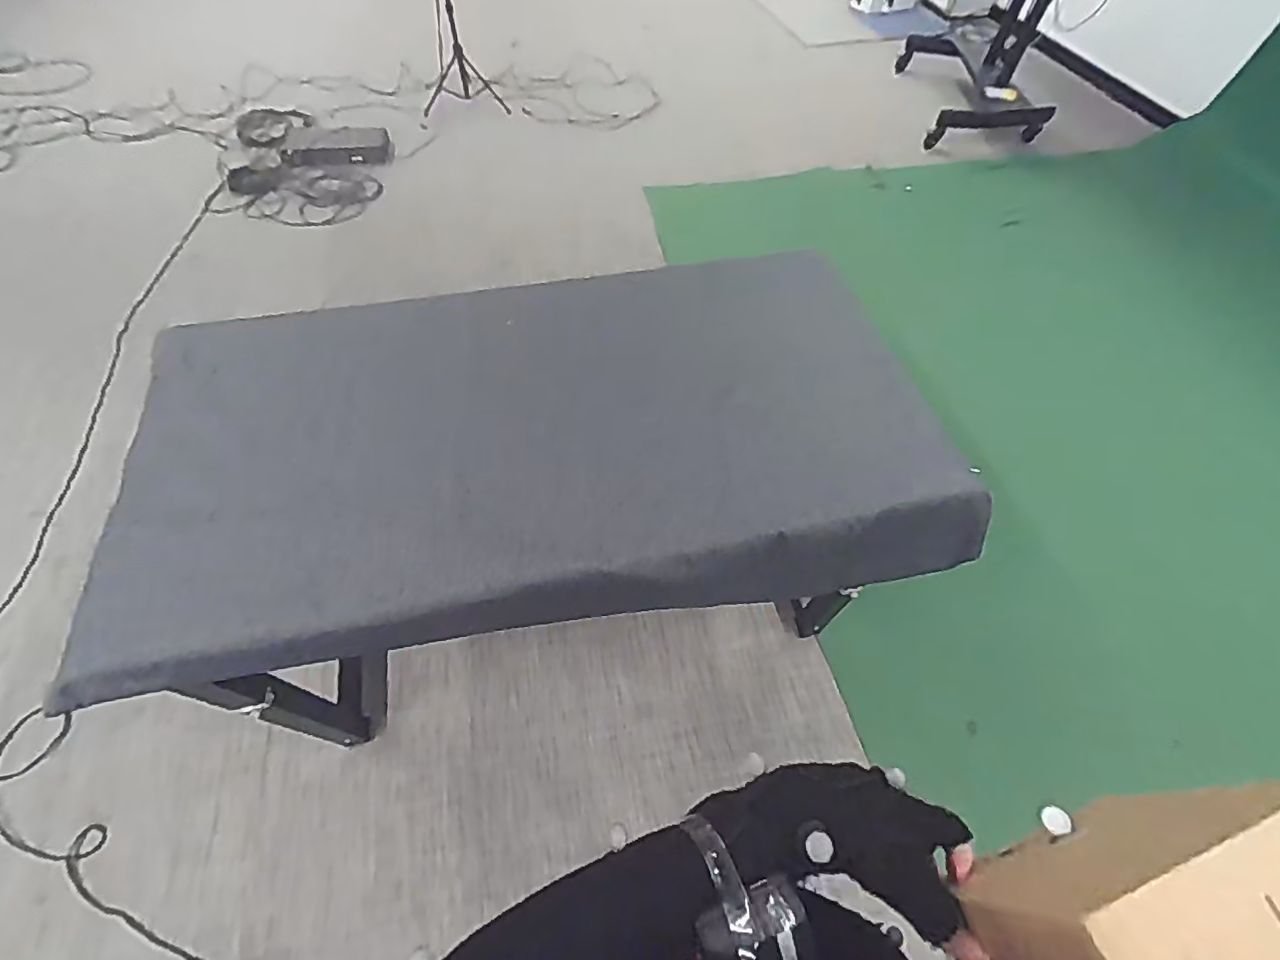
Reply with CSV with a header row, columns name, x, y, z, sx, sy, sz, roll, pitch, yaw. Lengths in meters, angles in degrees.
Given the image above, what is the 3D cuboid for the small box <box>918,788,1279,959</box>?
name,x,y,z,sx,sy,sz,roll,pitch,yaw
small box,0.292,0.286,0.284,0.168,0.176,0.179,-15,57,-10
